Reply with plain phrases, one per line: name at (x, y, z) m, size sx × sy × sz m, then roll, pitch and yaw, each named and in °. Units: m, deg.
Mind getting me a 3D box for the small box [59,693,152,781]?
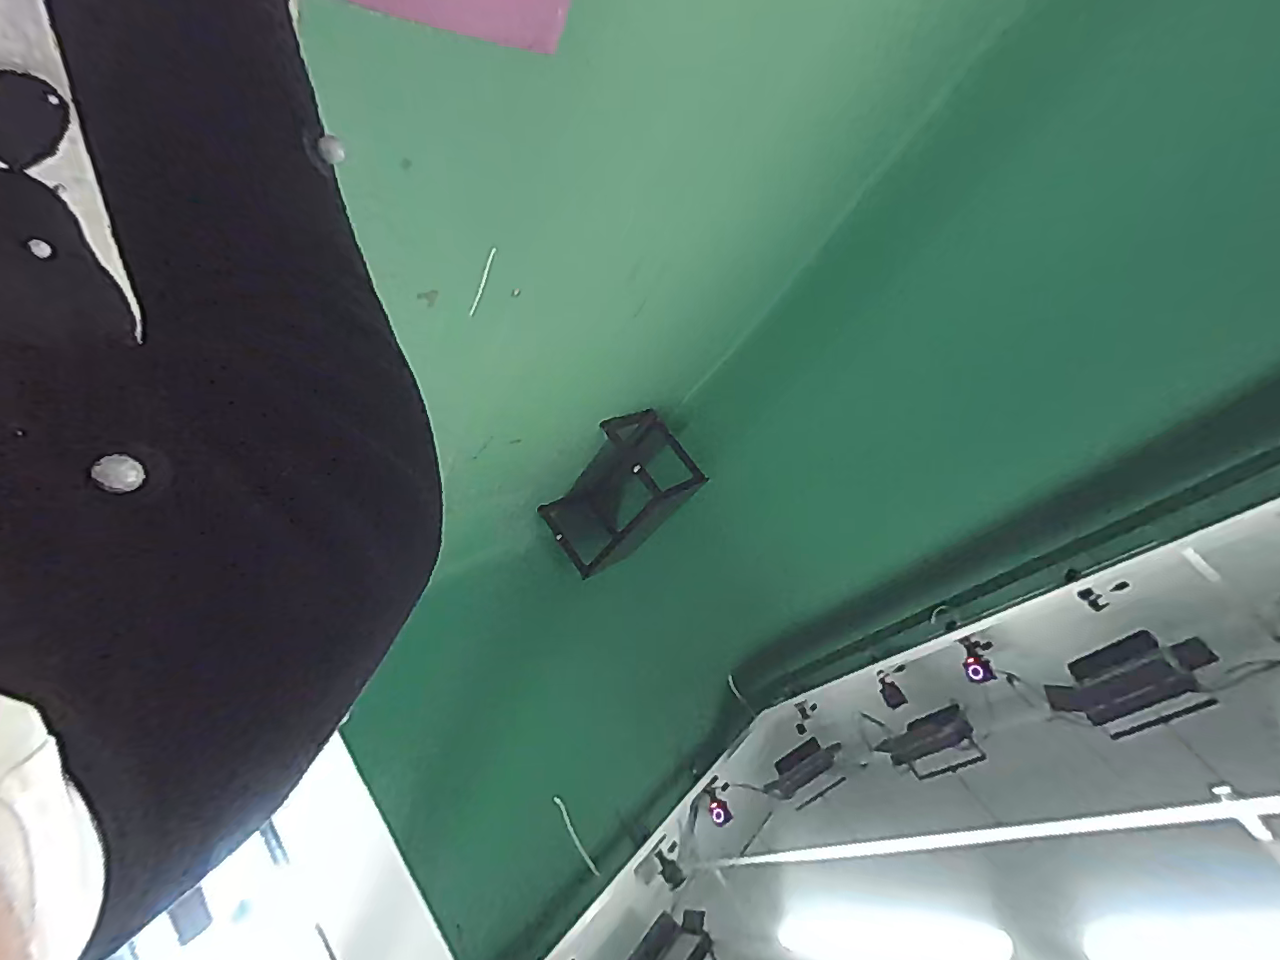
small box at (-1.650, 0.790, 1.674) m, size 0.168 × 0.176 × 0.179 m, roll -22°, pitch 160°, yaw -48°
